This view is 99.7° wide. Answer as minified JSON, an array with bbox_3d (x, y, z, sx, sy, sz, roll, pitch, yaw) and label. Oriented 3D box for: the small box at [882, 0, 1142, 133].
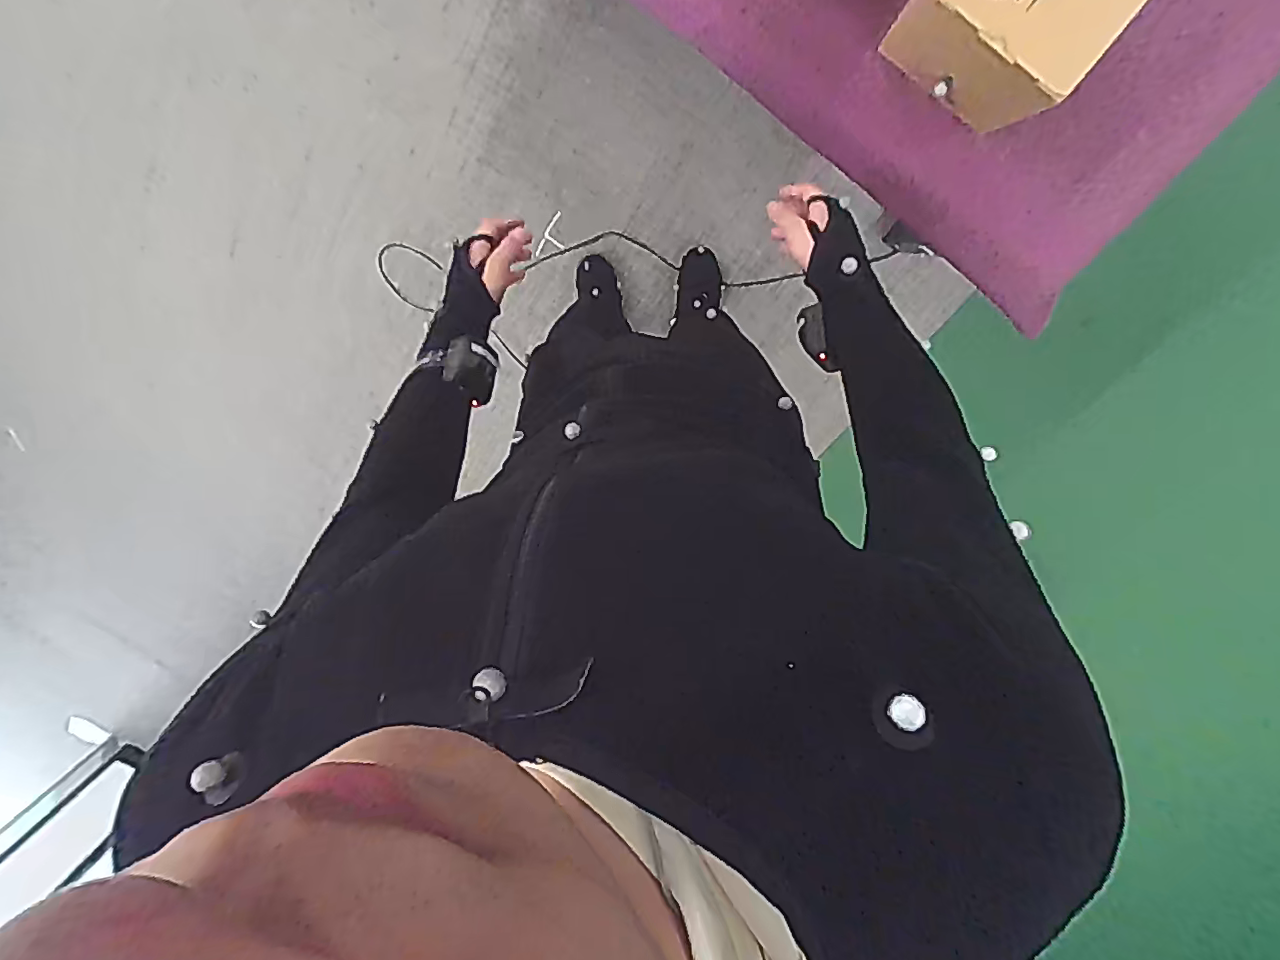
[{"bbox_3d":[0.380,-0.493,0.544,0.168,0.176,0.179,33,113,-7],"label":"small box"}]
